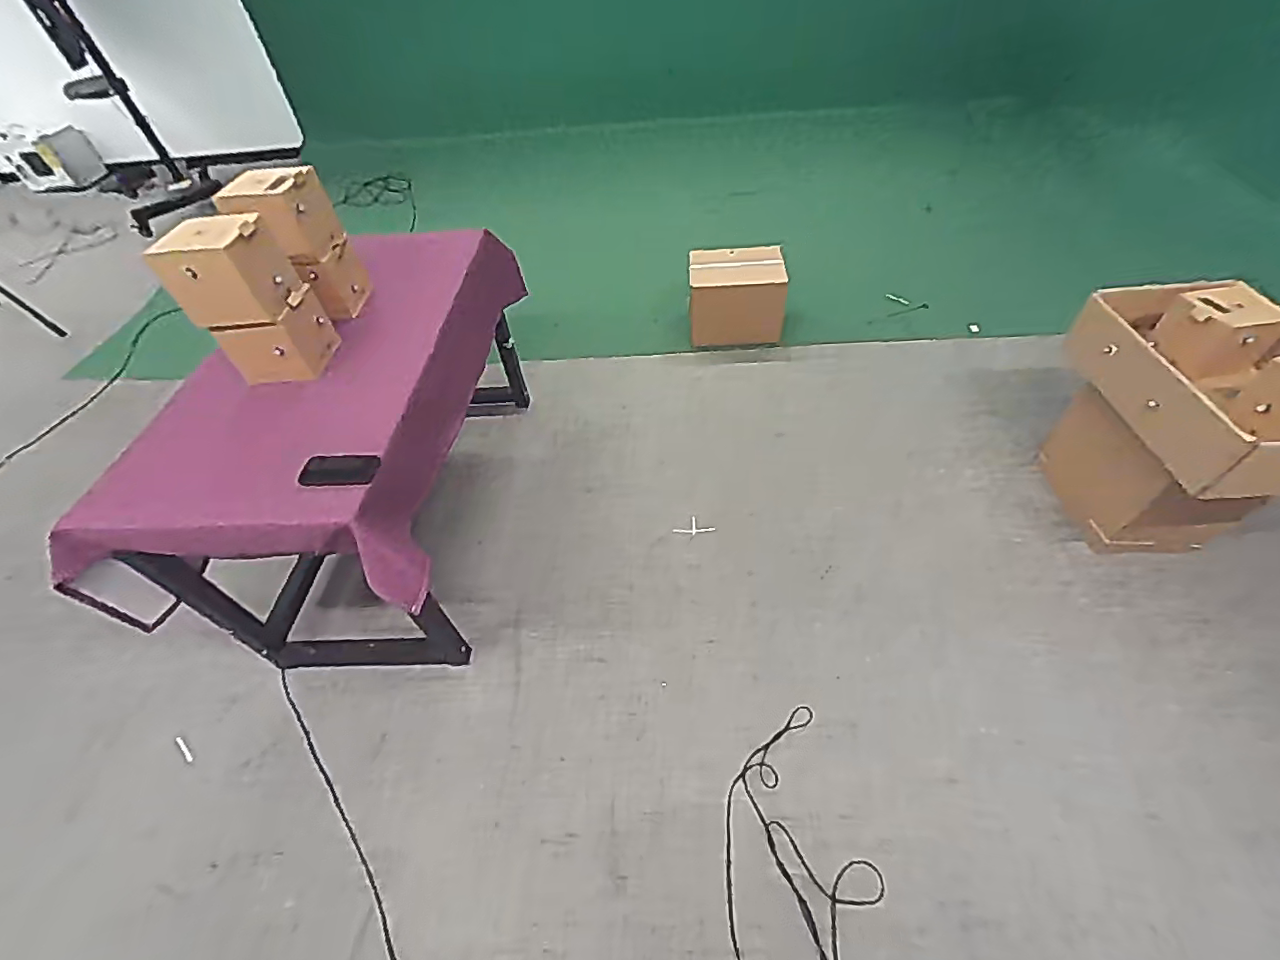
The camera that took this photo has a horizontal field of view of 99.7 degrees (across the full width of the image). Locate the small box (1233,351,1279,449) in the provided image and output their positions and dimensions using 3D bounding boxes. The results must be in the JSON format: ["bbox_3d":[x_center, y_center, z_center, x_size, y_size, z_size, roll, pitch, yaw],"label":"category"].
[{"bbox_3d":[1.541,-0.180,1.241,0.179,0.176,0.168,1,49,9],"label":"small box"}]

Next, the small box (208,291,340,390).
[{"bbox_3d":[-0.867,-0.334,1.306,0.179,0.176,0.168,-3,48,4],"label":"small box"}]

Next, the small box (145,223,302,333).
[{"bbox_3d":[-0.891,-0.435,1.177,0.179,0.176,0.168,-4,48,3],"label":"small box"}]

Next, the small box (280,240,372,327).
[{"bbox_3d":[-0.875,-0.533,1.481,0.179,0.176,0.168,-3,49,3],"label":"small box"}]
